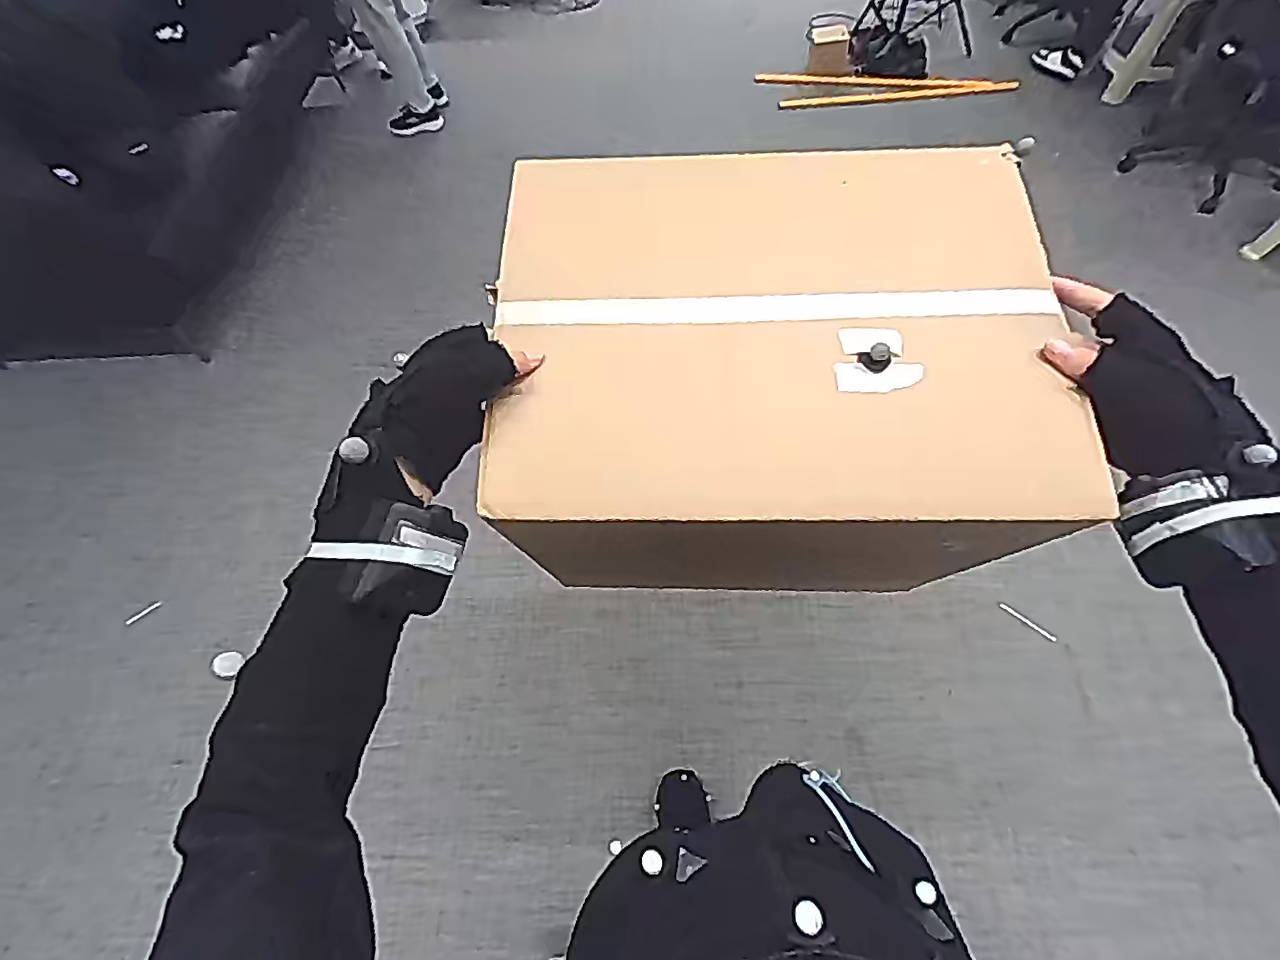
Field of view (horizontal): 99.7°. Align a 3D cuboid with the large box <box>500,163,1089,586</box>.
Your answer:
[{"bbox_3d":[0.103,-0.073,0.551,0.408,0.320,0.320,0,71,2],"label":"large box"}]
